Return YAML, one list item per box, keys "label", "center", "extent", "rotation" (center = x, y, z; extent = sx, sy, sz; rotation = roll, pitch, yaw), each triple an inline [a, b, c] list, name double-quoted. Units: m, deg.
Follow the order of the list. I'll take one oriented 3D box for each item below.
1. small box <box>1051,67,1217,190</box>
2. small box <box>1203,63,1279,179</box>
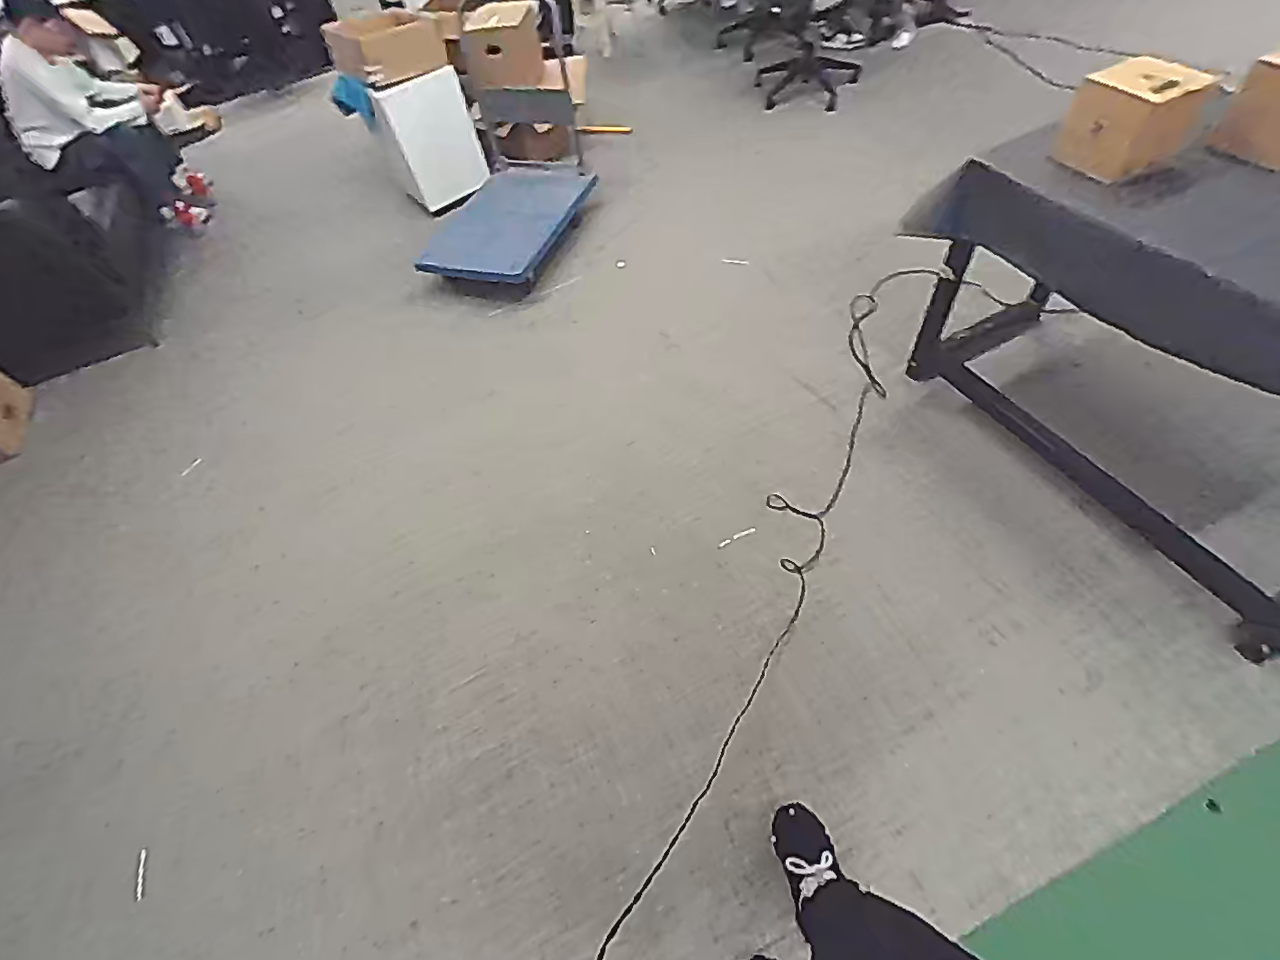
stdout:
- label: "small box"
  center: [1.080, -0.772, 1.201]
  extent: [0.168, 0.176, 0.179]
  rotation: [-22, 54, -7]
- label: "small box"
  center: [1.389, -0.767, 1.144]
  extent: [0.168, 0.176, 0.179]
  rotation: [-25, 55, -8]
